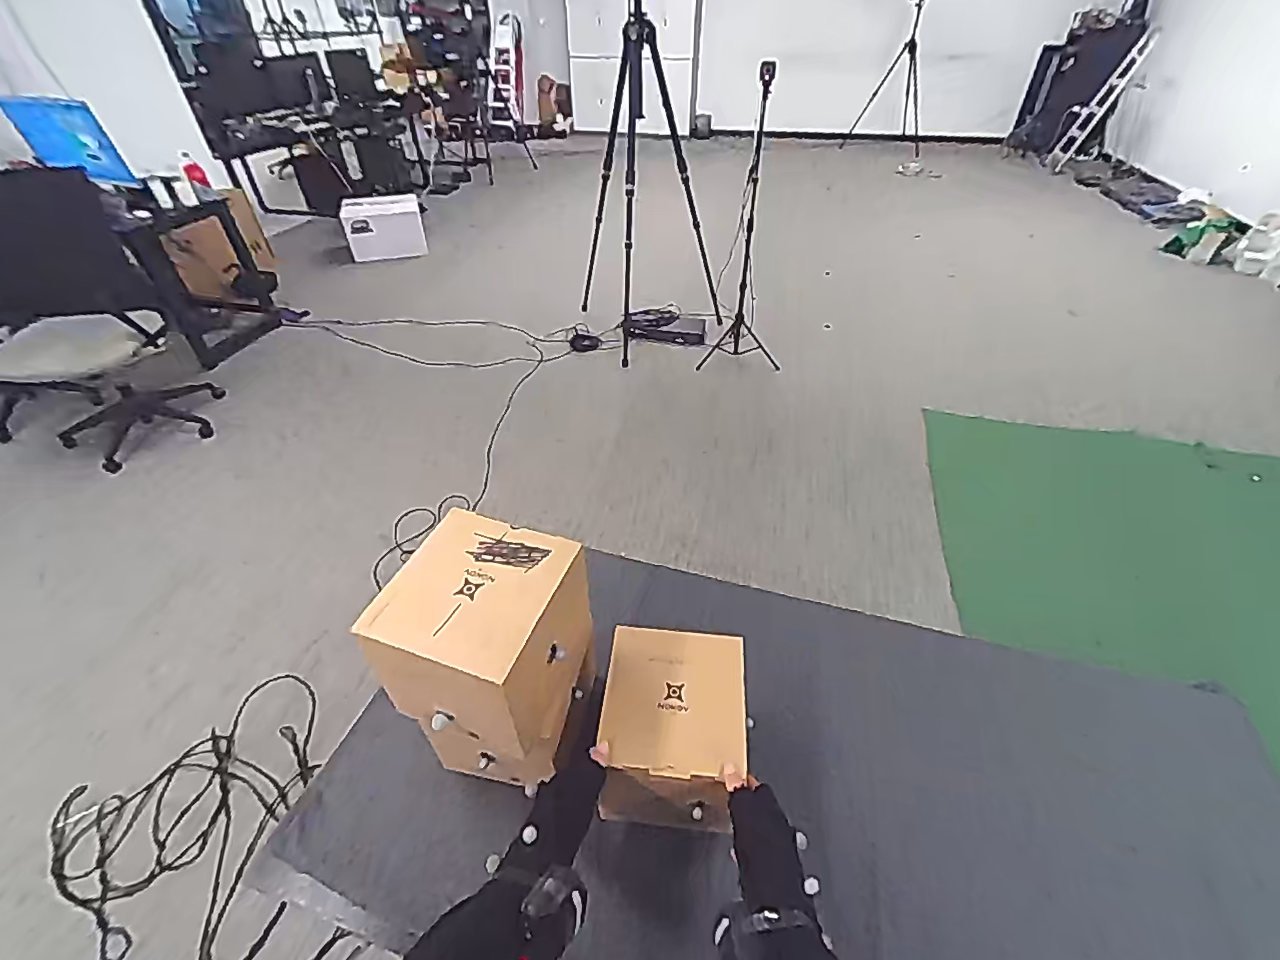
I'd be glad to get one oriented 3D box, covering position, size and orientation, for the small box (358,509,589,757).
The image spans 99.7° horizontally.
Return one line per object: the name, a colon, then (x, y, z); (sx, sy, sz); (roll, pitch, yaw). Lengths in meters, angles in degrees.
small box: (-0.164, 0.165, 0.597); (0.168, 0.176, 0.179); (14, 43, 14)
